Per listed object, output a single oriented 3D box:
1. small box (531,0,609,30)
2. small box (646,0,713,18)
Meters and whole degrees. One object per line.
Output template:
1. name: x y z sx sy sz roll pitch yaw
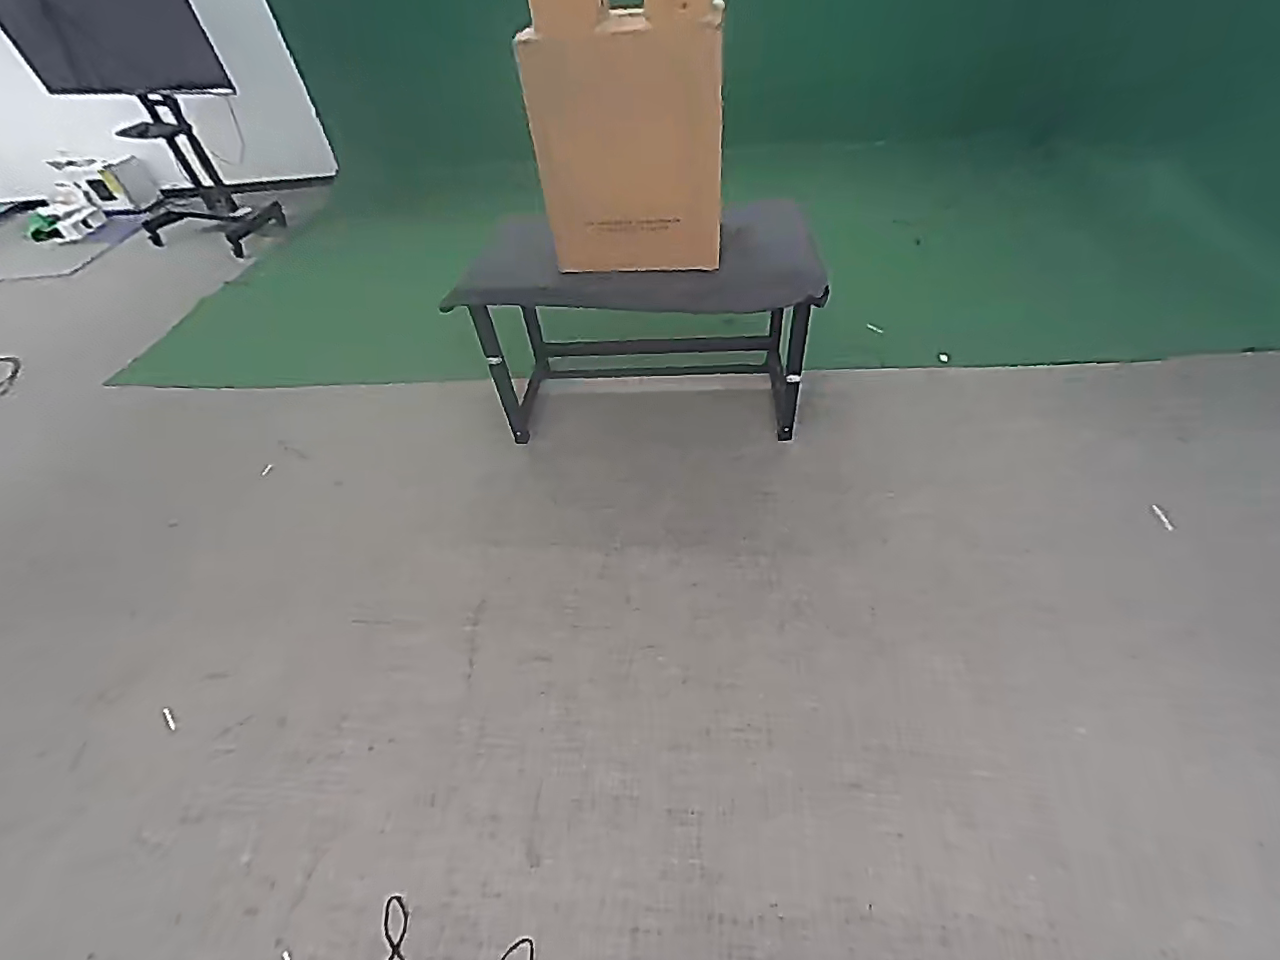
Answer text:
1. small box: -0.185 -1.282 1.387 0.179 0.176 0.168 4 51 8
2. small box: 0.100 -1.282 1.351 0.168 0.176 0.179 4 50 8
